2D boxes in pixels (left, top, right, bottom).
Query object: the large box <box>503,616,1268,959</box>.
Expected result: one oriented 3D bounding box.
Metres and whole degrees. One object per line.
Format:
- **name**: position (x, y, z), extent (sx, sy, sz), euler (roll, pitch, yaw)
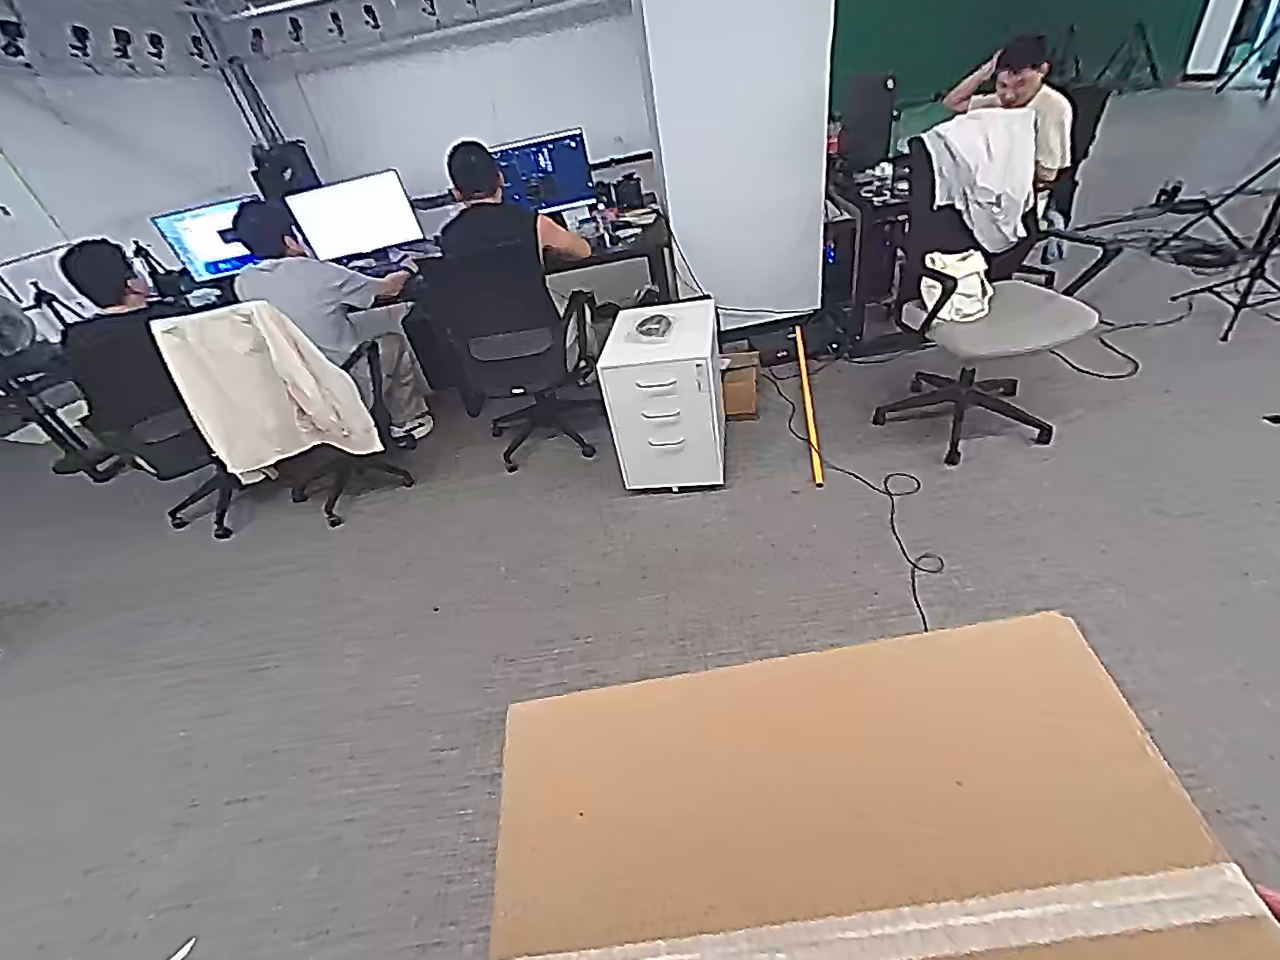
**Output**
- **large box**: position (0.142, 0.344, 0.413), extent (0.408, 0.320, 0.320), euler (-12, 48, 5)
